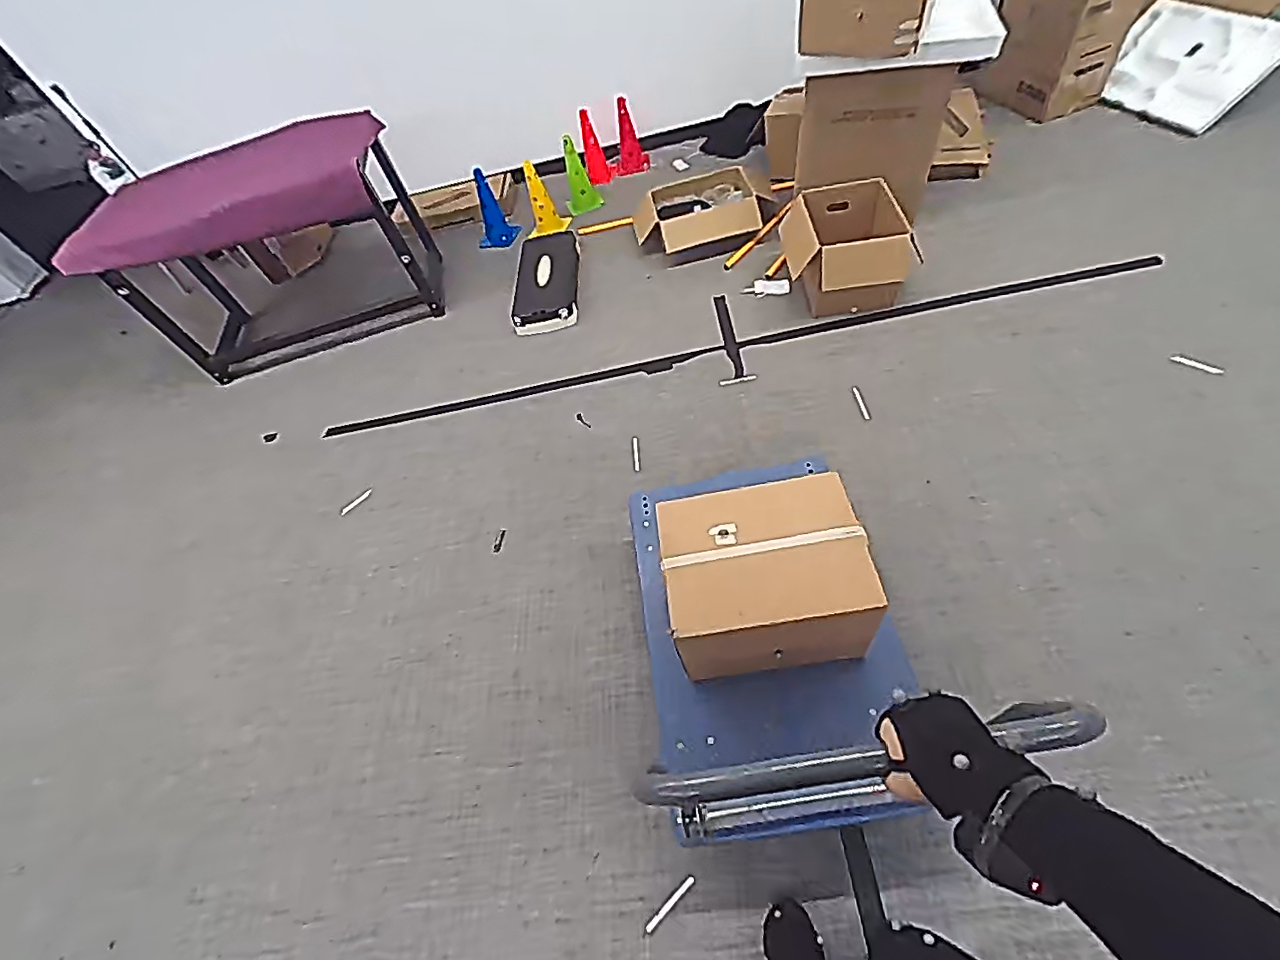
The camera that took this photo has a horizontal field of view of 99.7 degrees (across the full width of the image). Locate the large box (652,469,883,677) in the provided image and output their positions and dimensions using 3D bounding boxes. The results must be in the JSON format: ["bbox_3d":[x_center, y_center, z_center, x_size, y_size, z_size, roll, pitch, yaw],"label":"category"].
[{"bbox_3d":[0.266,0.221,1.208,0.408,0.320,0.320,-11,53,6],"label":"large box"}]
